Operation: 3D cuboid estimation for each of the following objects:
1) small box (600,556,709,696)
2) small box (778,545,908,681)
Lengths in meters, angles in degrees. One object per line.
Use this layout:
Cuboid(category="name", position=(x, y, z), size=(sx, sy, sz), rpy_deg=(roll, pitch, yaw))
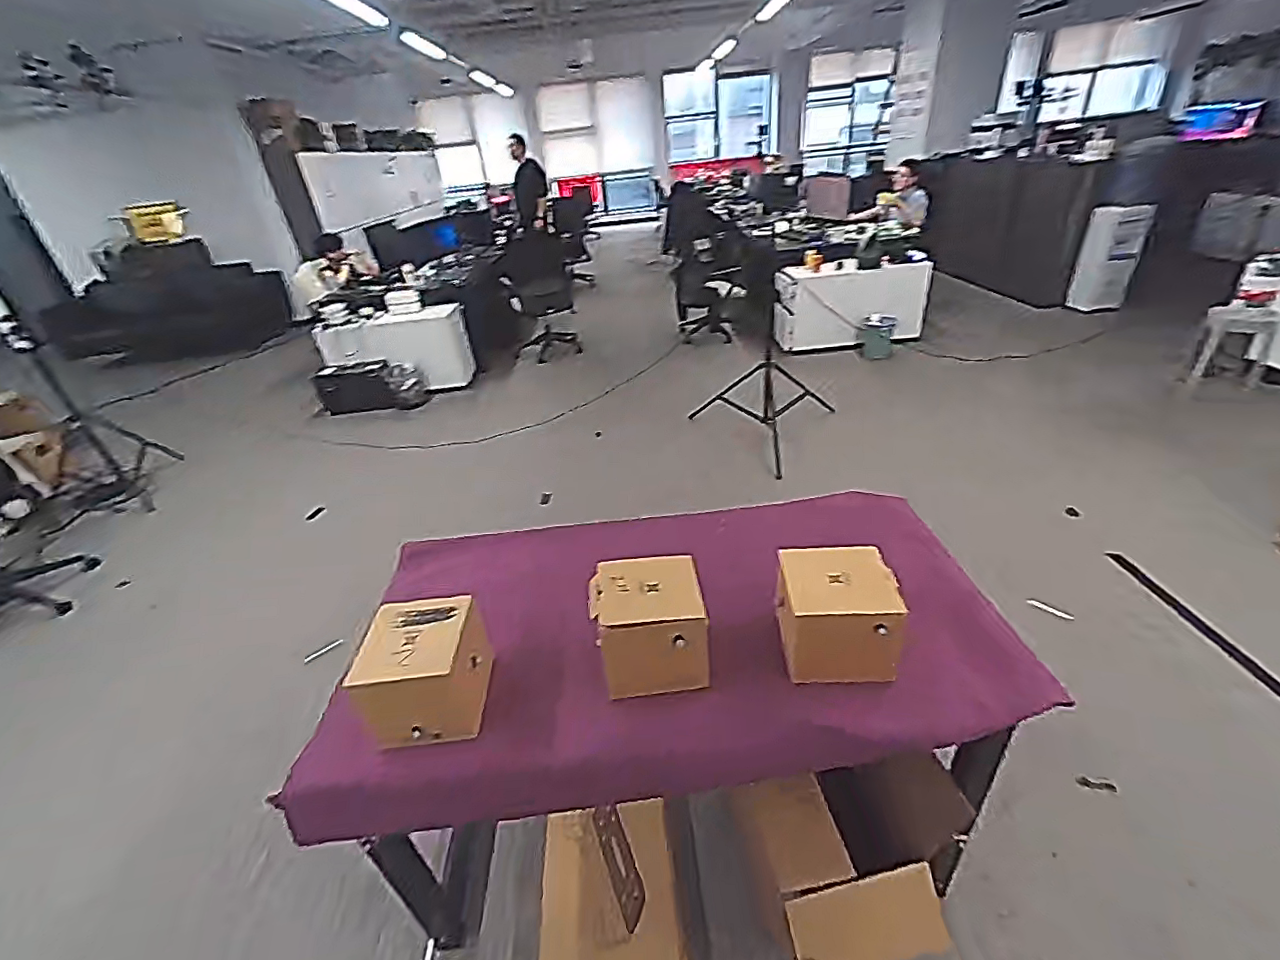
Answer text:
Cuboid(category="small box", position=(0.025, 0.259, 0.964), size=(0.179, 0.176, 0.168), rpy_deg=(-7, 29, -1))
Cuboid(category="small box", position=(0.342, 0.233, 0.947), size=(0.179, 0.176, 0.168), rpy_deg=(-3, 32, 5))
